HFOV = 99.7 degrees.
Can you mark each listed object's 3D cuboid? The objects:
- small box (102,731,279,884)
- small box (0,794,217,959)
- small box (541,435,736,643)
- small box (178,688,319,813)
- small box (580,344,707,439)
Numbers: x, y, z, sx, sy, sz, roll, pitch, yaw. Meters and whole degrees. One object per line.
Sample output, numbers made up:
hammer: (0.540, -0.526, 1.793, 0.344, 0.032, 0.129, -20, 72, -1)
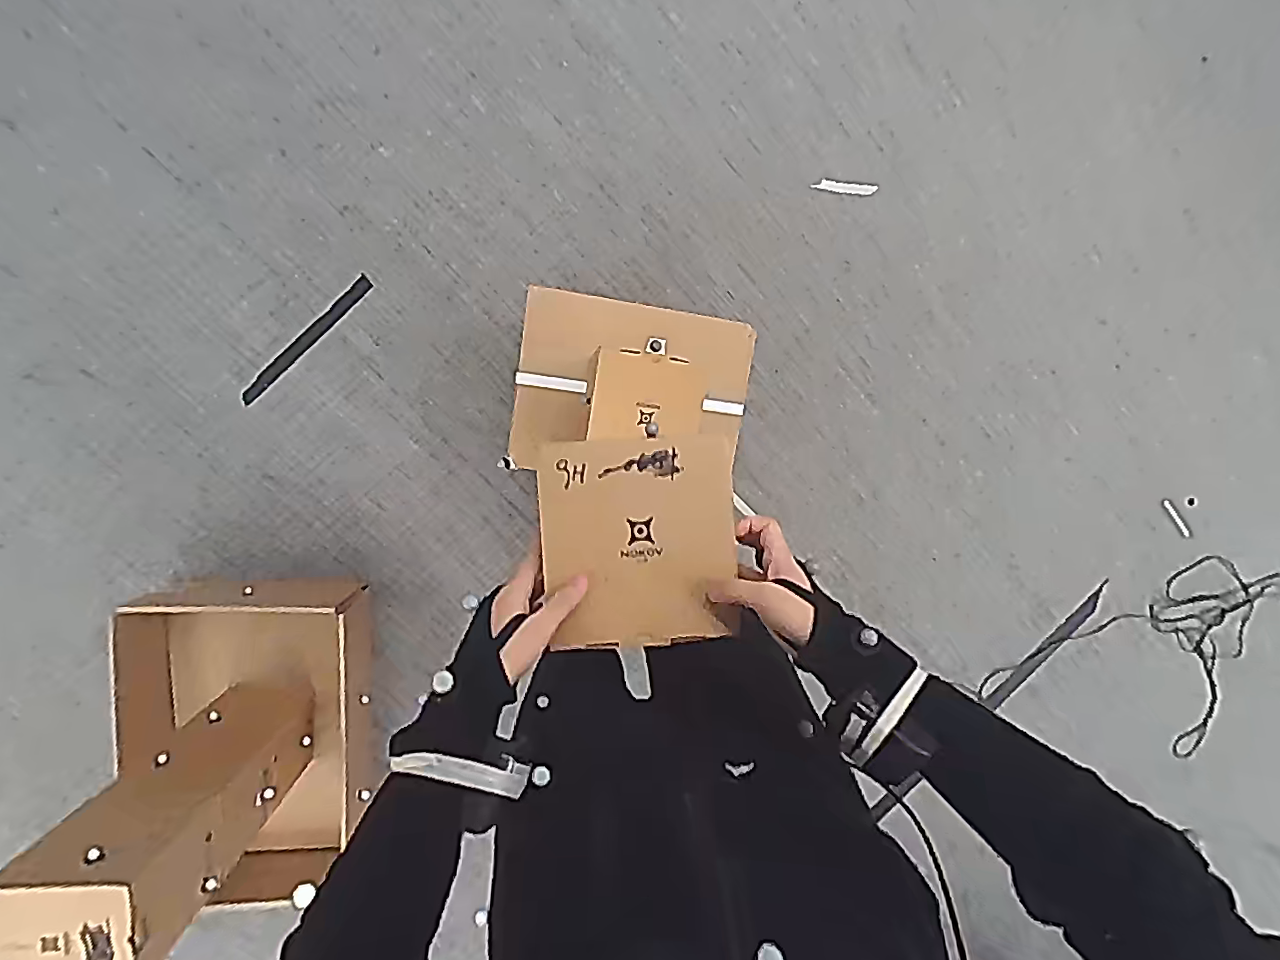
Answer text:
small box: (-0.759, 0.554, 0.929, 0.179, 0.176, 0.168, 4, 97, -10)
small box: (-0.739, 0.575, 0.767, 0.179, 0.176, 0.168, 3, 97, -7)
small box: (-0.006, 0.046, 0.542, 0.168, 0.176, 0.179, -3, 92, -5)
small box: (-0.781, 0.536, 1.088, 0.179, 0.176, 0.168, 5, 96, -9)
small box: (-0.004, -0.108, 0.869, 0.168, 0.176, 0.179, 7, 95, -10)
